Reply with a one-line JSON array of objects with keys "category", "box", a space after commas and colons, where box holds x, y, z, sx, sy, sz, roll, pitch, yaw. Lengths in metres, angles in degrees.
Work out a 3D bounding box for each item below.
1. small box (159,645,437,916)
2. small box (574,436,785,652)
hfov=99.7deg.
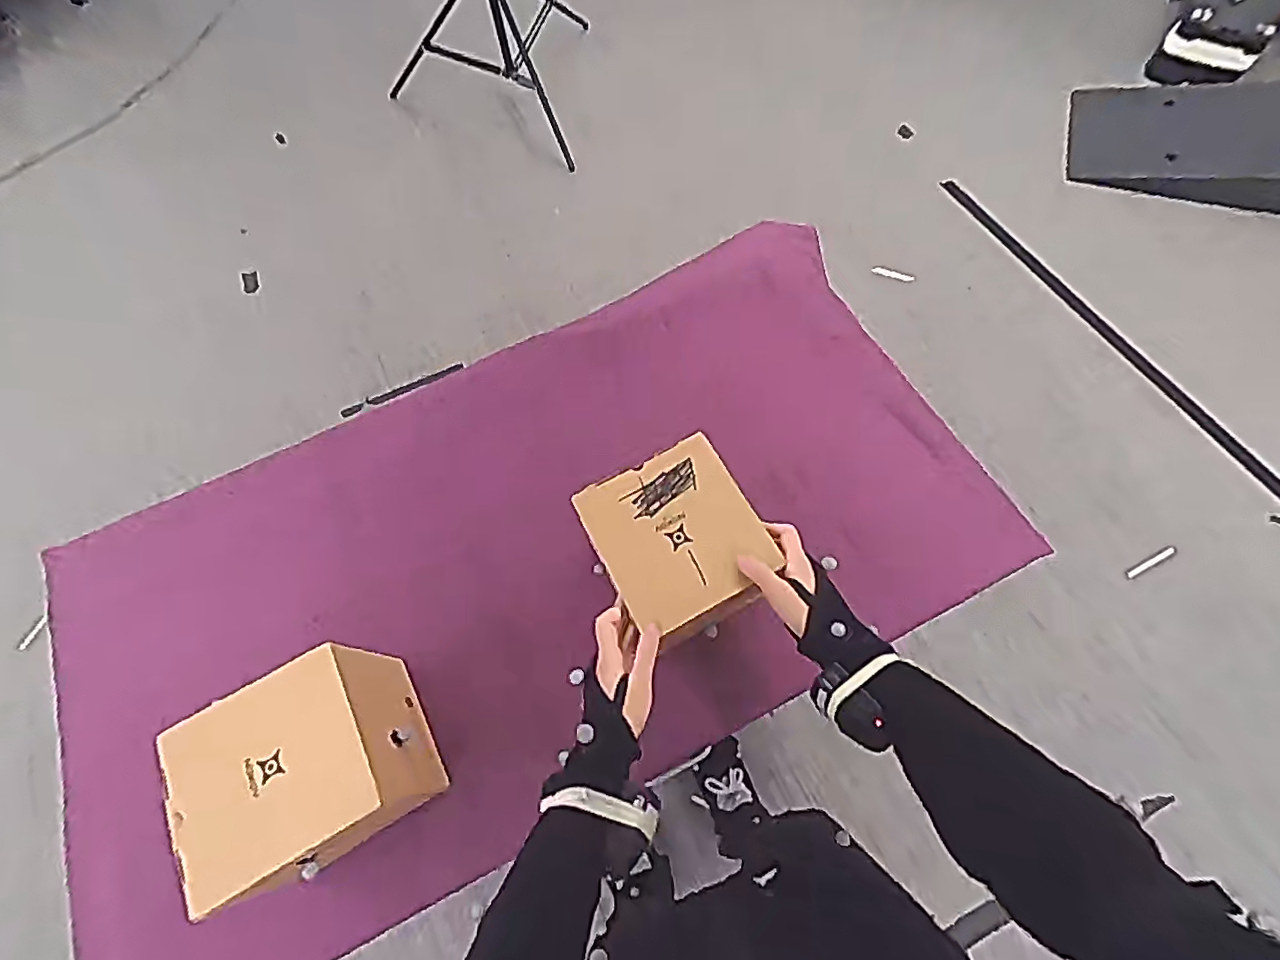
[{"category": "small box", "box": [-0.339, 0.297, 0.572, 0.179, 0.176, 0.168, -30, 68, -9]}, {"category": "small box", "box": [0.040, 0.083, 0.638, 0.168, 0.176, 0.179, -27, 69, -8]}]
